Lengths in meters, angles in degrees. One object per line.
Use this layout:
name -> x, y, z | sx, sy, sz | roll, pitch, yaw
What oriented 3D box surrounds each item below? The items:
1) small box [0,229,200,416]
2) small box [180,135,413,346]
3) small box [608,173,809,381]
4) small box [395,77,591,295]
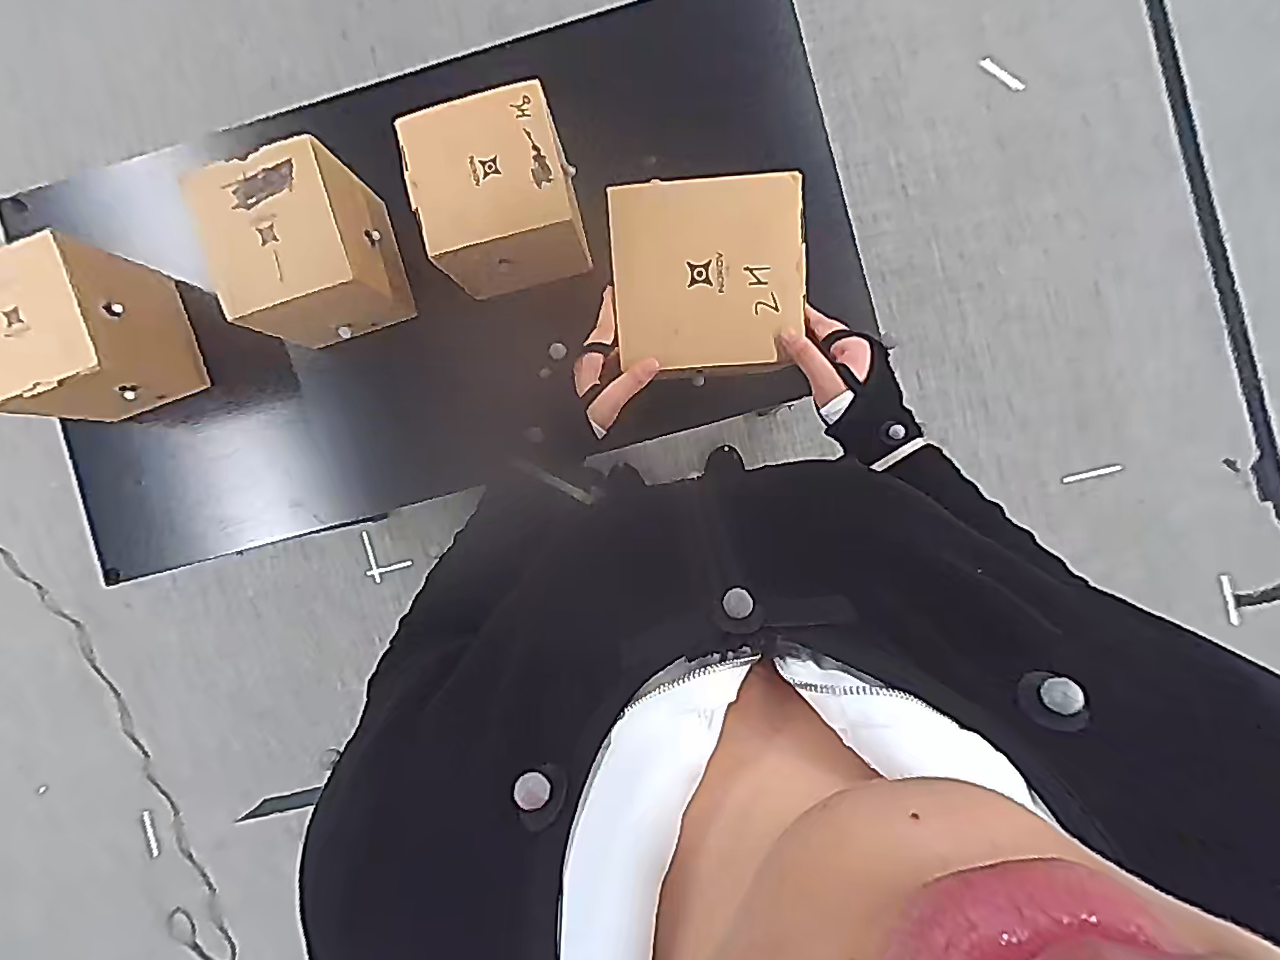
small box -> -0.742, -0.190, 0.717 | 0.168, 0.176, 0.179 | -19, 90, 1
small box -> -0.426, -0.293, 0.700 | 0.168, 0.176, 0.179 | -16, 92, 3
small box -> 0.065, -0.194, 0.563 | 0.179, 0.176, 0.168 | -4, 98, 1
small box -> -0.173, -0.354, 0.689 | 0.179, 0.176, 0.168 | -14, 91, 4
